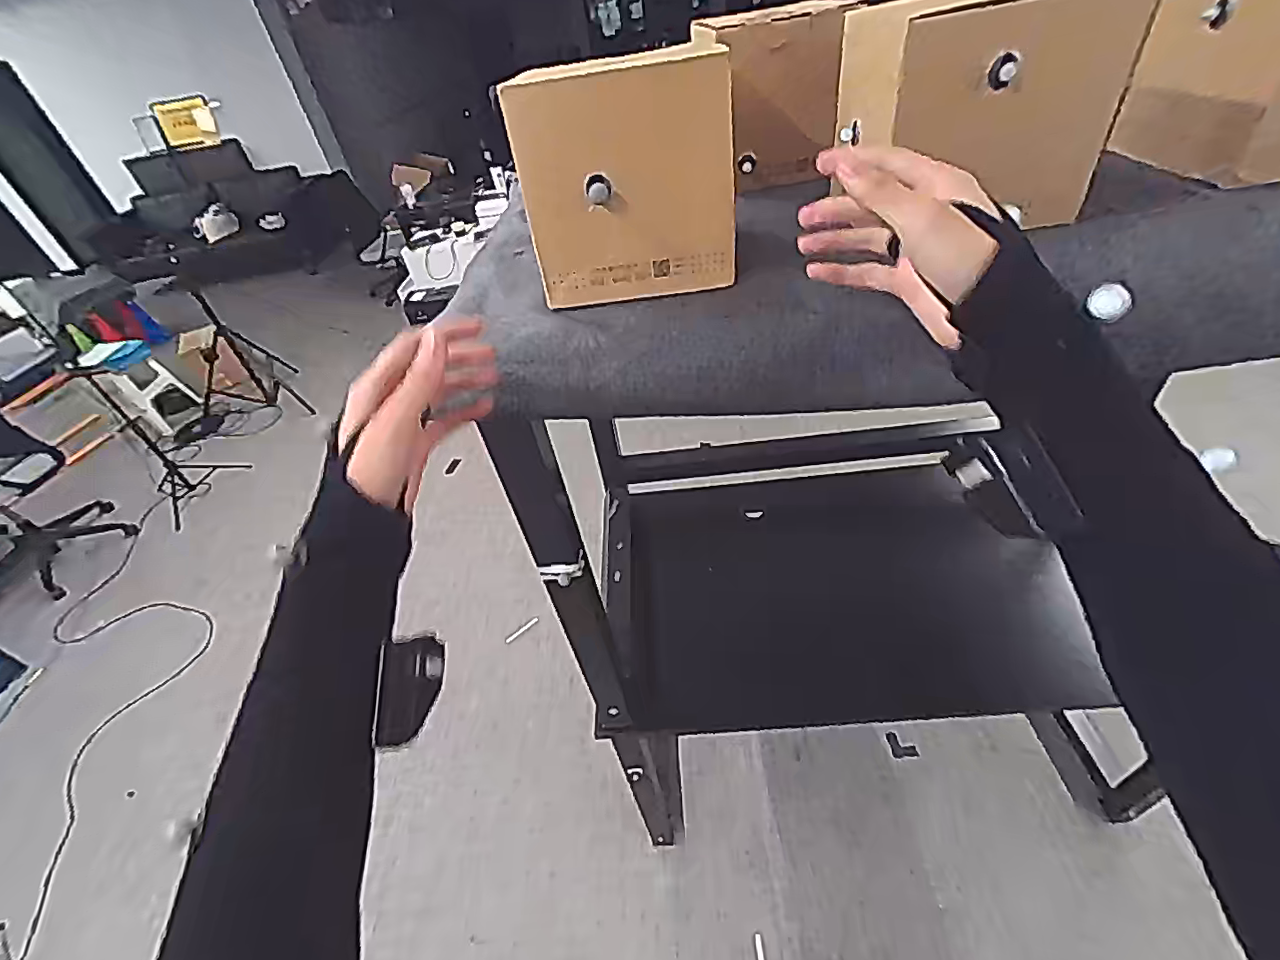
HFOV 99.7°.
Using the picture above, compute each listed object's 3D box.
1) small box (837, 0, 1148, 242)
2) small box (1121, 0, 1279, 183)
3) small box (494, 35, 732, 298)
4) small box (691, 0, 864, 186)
[{"bbox_3d":[0.285,-0.328,0.485,0.179,0.176,0.168,-5,42,6],"label":"small box"},{"bbox_3d":[0.594,-0.381,0.482,0.168,0.176,0.179,-6,41,6],"label":"small box"},{"bbox_3d":[-0.012,-0.272,0.482,0.168,0.176,0.179,-6,39,4],"label":"small box"},{"bbox_3d":[0.163,-0.485,0.685,0.168,0.176,0.179,-9,41,2],"label":"small box"}]
